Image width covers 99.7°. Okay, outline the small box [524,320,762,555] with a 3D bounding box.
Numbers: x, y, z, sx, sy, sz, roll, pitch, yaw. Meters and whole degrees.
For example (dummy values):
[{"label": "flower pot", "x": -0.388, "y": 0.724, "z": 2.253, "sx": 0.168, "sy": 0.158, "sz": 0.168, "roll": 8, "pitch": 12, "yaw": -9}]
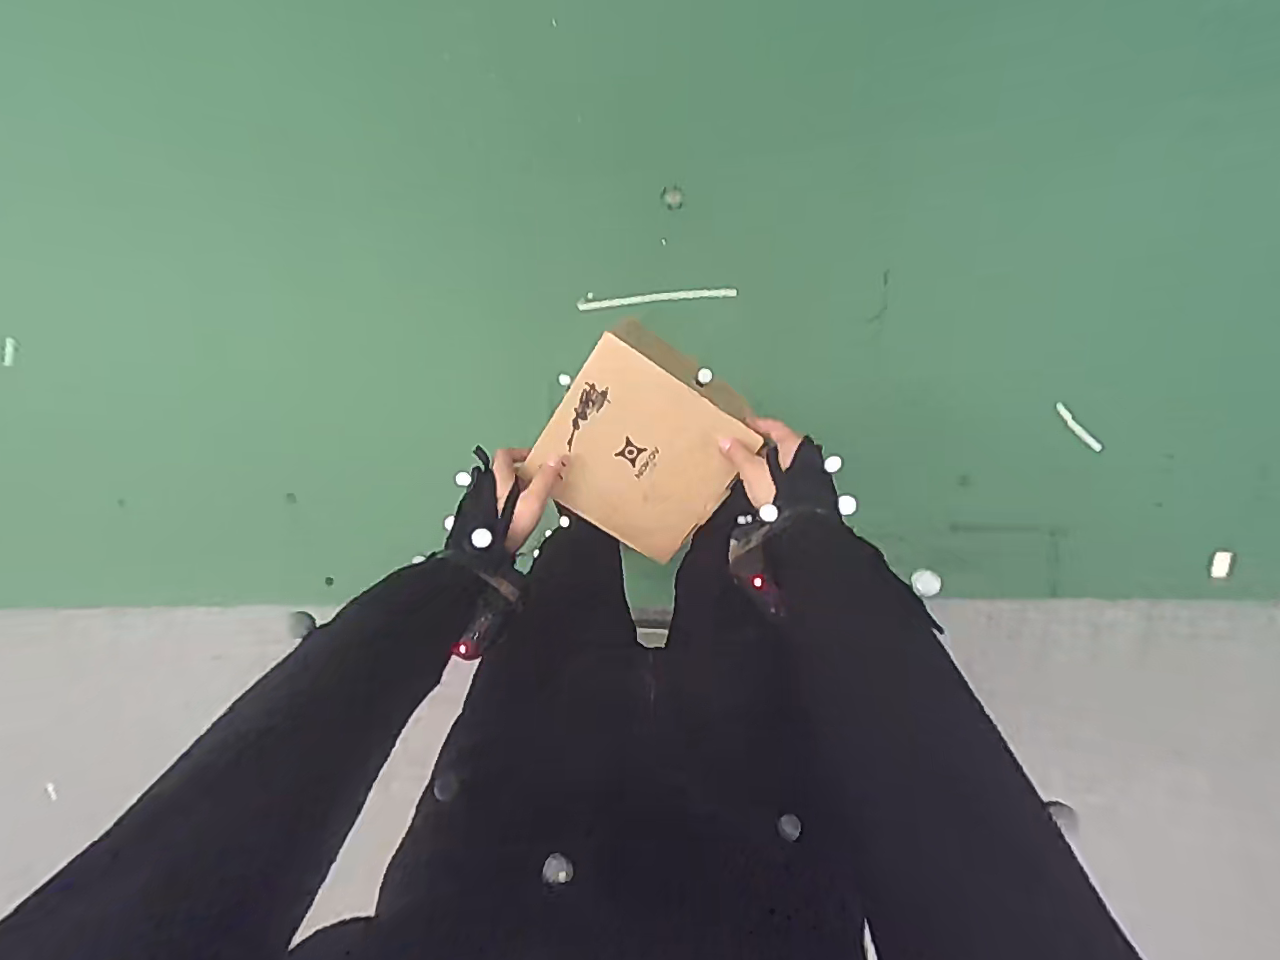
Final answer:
[{"label": "small box", "x": 0.006, "y": -0.057, "z": 0.590, "sx": 0.179, "sy": 0.176, "sz": 0.168, "roll": 33, "pitch": 110, "yaw": -9}]
